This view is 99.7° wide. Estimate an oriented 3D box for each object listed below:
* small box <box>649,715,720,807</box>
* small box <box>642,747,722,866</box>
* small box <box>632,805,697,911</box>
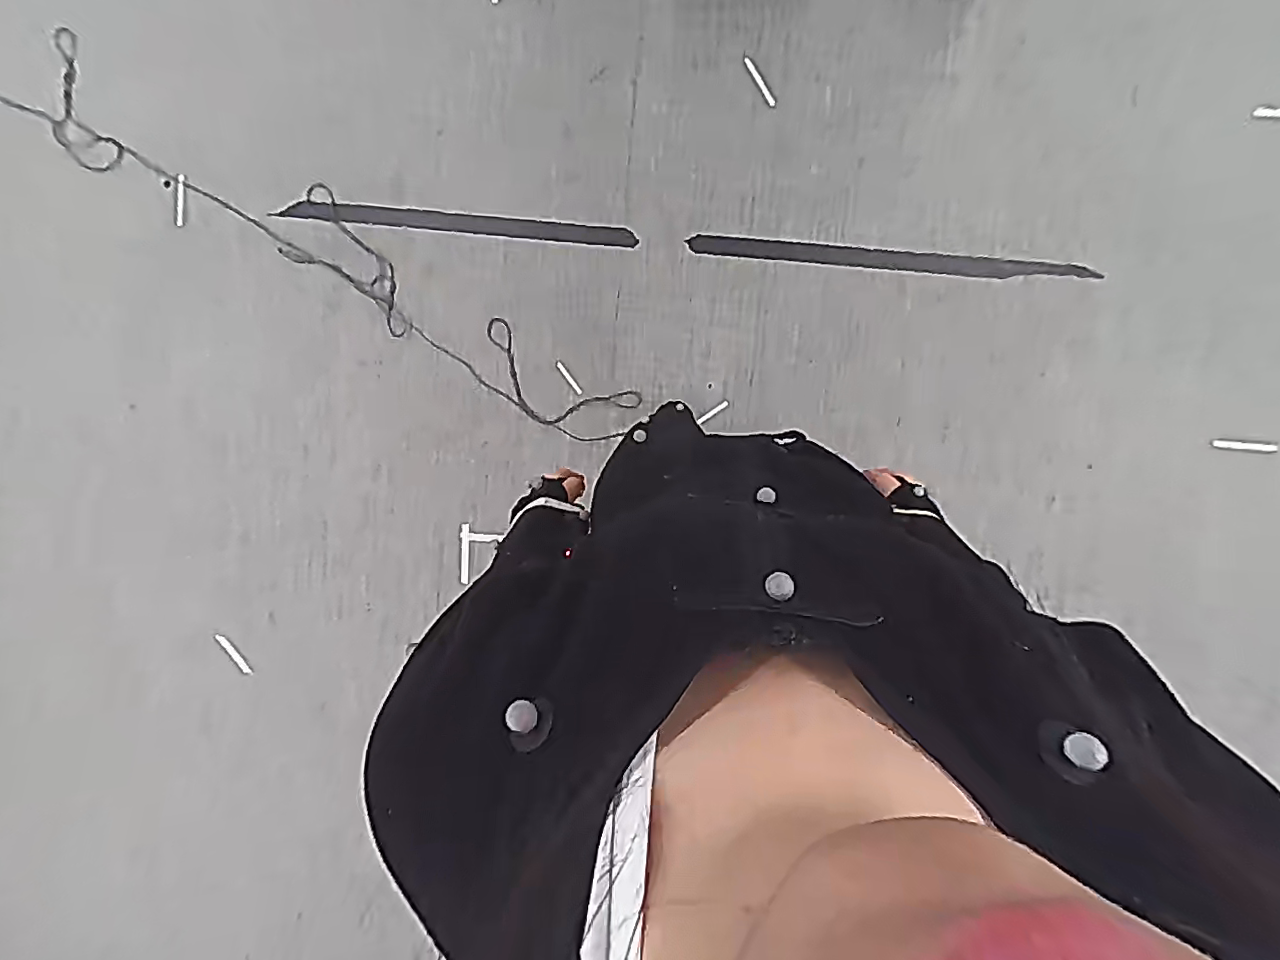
[{"bbox_3d":[0.115,0.750,1.449,0.168,0.176,0.179,-8,93,4],"label":"small box"},{"bbox_3d":[0.098,0.768,1.286,0.168,0.176,0.179,-8,94,3],"label":"small box"},{"bbox_3d":[0.069,1.026,1.476,0.168,0.176,0.179,-3,94,3],"label":"small box"}]
